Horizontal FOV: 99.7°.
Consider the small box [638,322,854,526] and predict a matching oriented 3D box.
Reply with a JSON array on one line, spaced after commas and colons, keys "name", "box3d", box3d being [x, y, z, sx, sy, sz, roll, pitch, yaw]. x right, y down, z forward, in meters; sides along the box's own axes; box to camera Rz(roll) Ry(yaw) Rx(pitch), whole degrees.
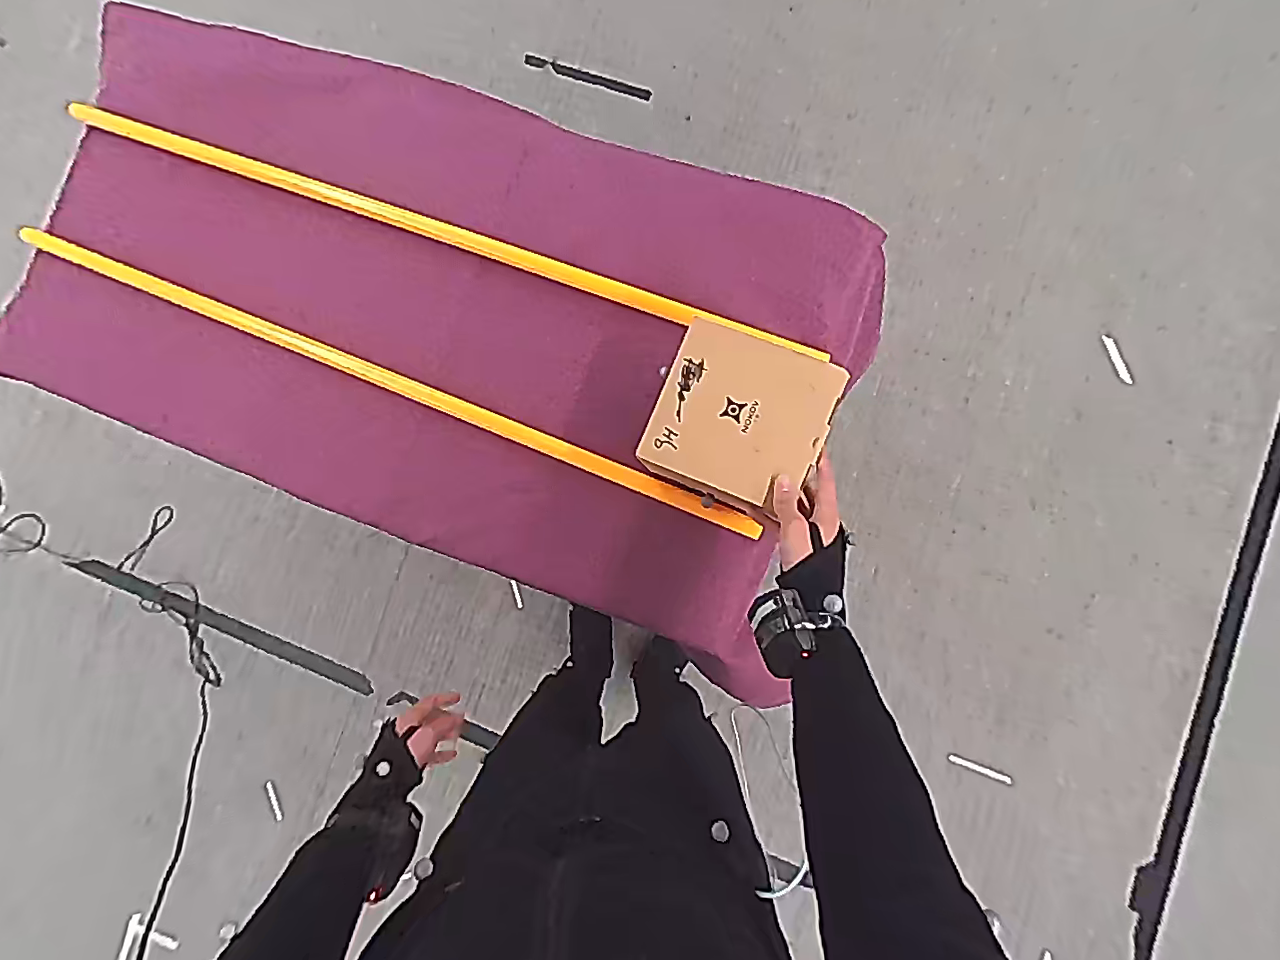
[{"name": "small box", "box3d": [0.117, -0.056, 0.637, 0.179, 0.176, 0.168, 23, 88, 8]}]
